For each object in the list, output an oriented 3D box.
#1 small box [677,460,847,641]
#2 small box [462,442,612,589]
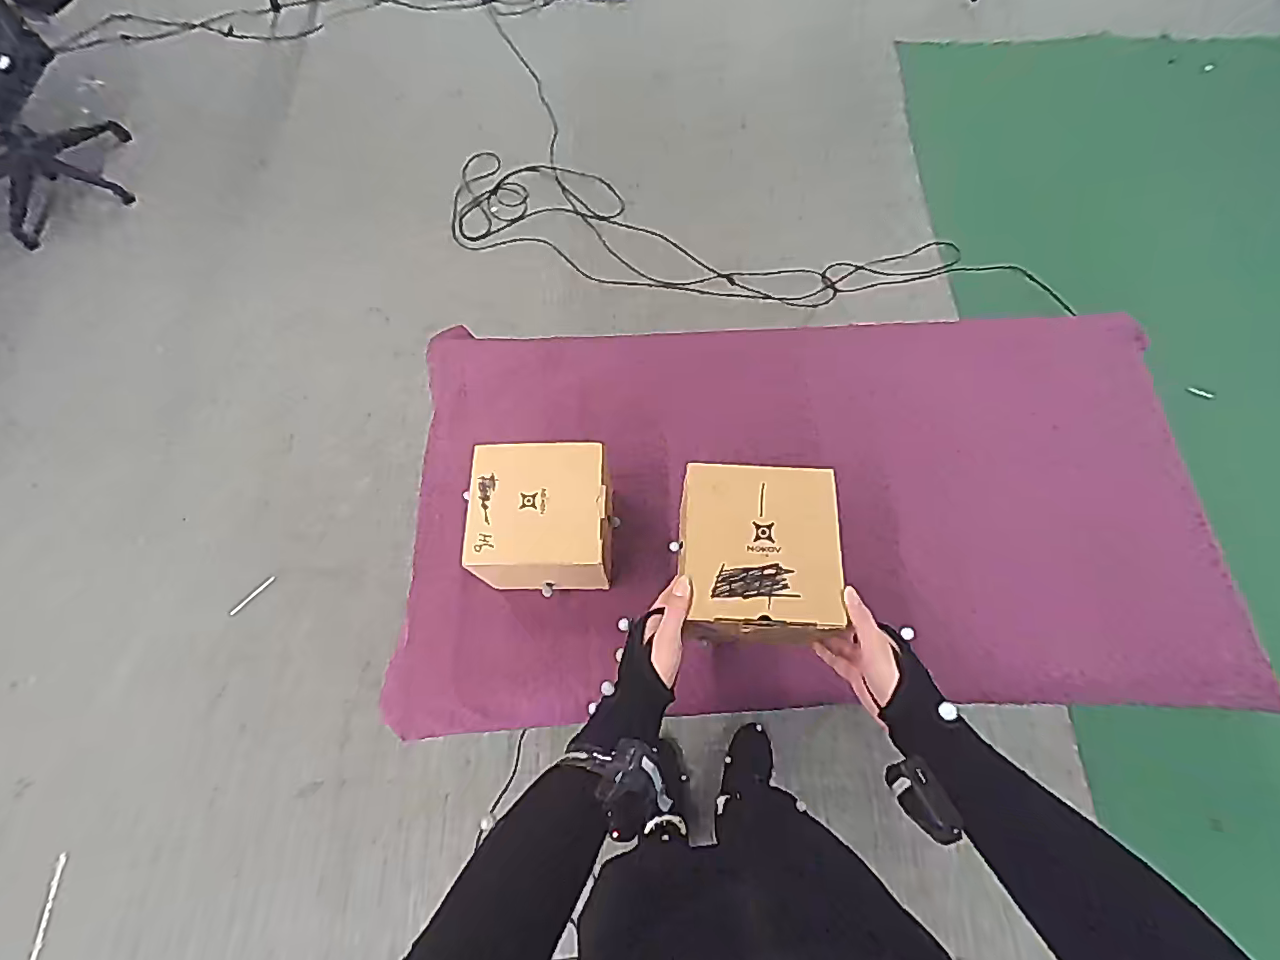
[{"bbox_3d":[0.133,0.092,0.646,0.168,0.176,0.179,3,67,2],"label":"small box"},{"bbox_3d":[-0.130,0.056,0.758,0.179,0.176,0.168,0,69,0],"label":"small box"}]
